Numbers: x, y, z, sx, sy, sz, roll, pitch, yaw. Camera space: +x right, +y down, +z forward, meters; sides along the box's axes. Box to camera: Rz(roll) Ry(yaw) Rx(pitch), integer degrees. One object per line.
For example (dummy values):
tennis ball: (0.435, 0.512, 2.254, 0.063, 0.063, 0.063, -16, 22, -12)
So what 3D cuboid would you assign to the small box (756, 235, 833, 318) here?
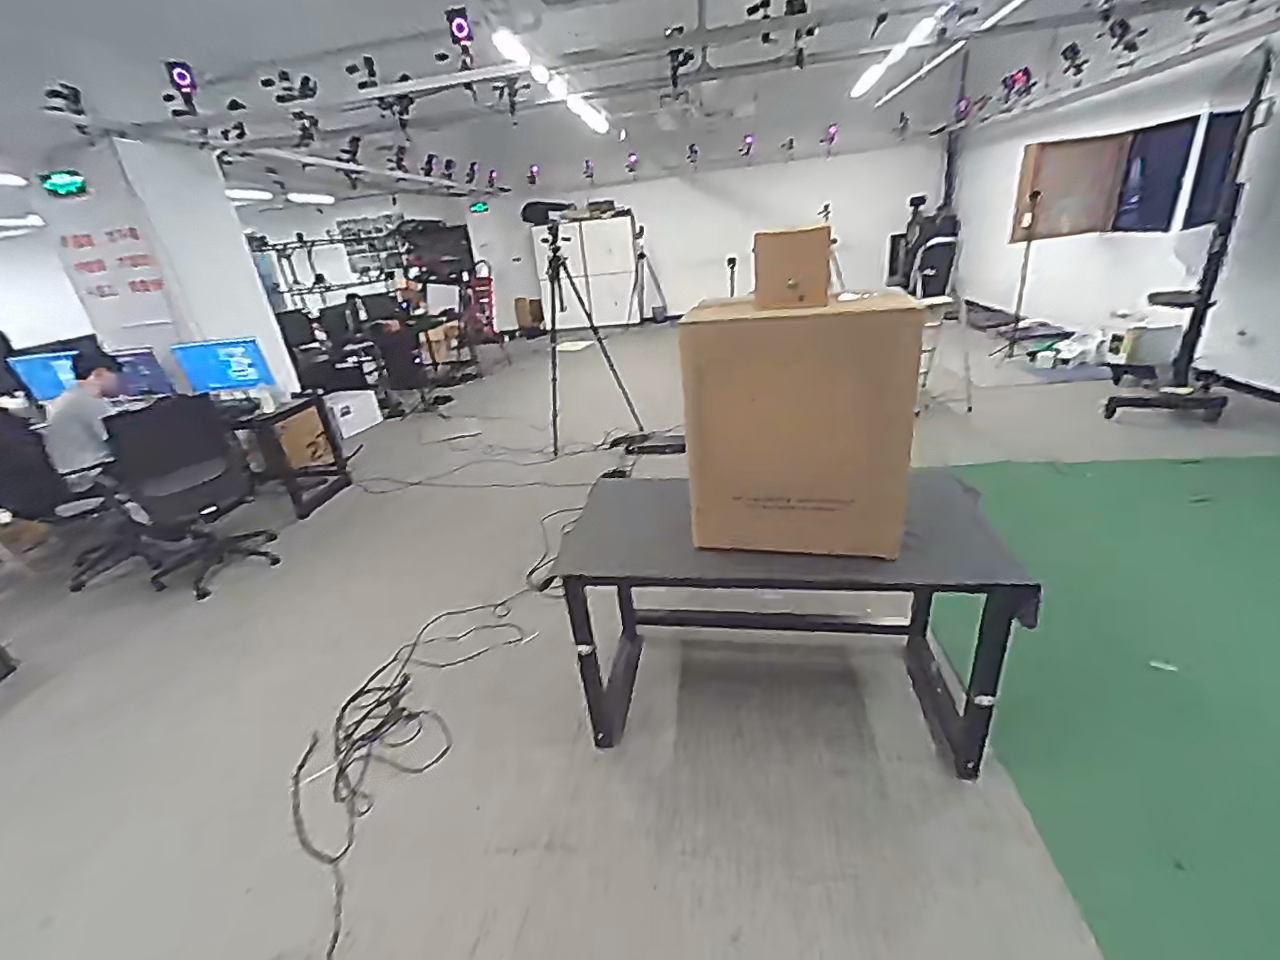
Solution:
small box: (0.370, -0.488, 1.300, 0.168, 0.176, 0.179, 2, 27, 17)
